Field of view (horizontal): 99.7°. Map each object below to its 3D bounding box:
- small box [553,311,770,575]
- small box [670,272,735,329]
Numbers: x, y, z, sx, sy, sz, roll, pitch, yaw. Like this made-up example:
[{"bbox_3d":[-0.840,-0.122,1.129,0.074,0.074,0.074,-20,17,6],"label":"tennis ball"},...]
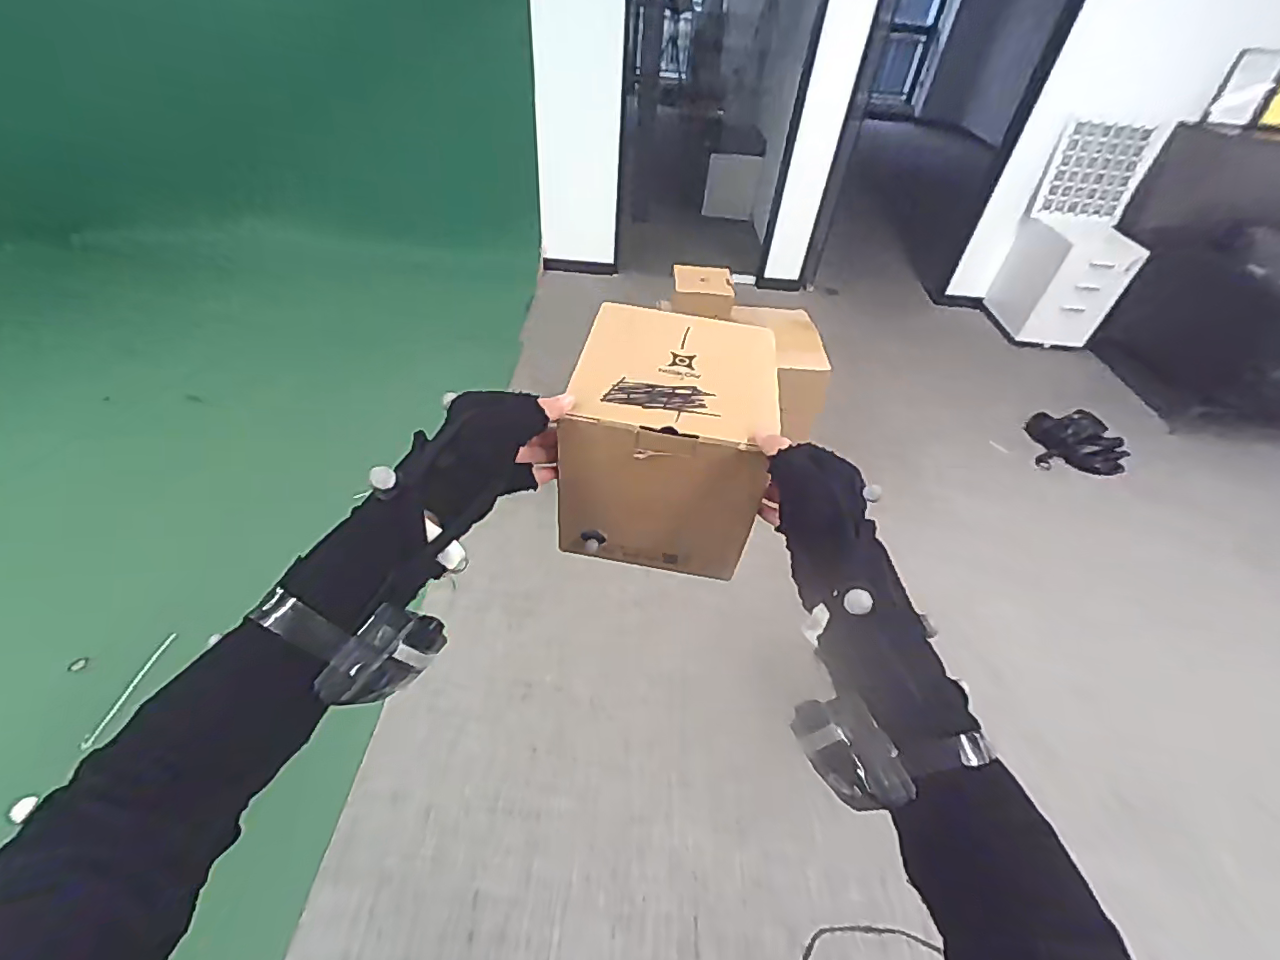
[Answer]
[{"bbox_3d":[0.022,-0.034,0.512,0.168,0.176,0.179,10,44,3],"label":"small box"},{"bbox_3d":[0.190,-0.535,1.705,0.179,0.176,0.168,1,47,-2],"label":"small box"}]
